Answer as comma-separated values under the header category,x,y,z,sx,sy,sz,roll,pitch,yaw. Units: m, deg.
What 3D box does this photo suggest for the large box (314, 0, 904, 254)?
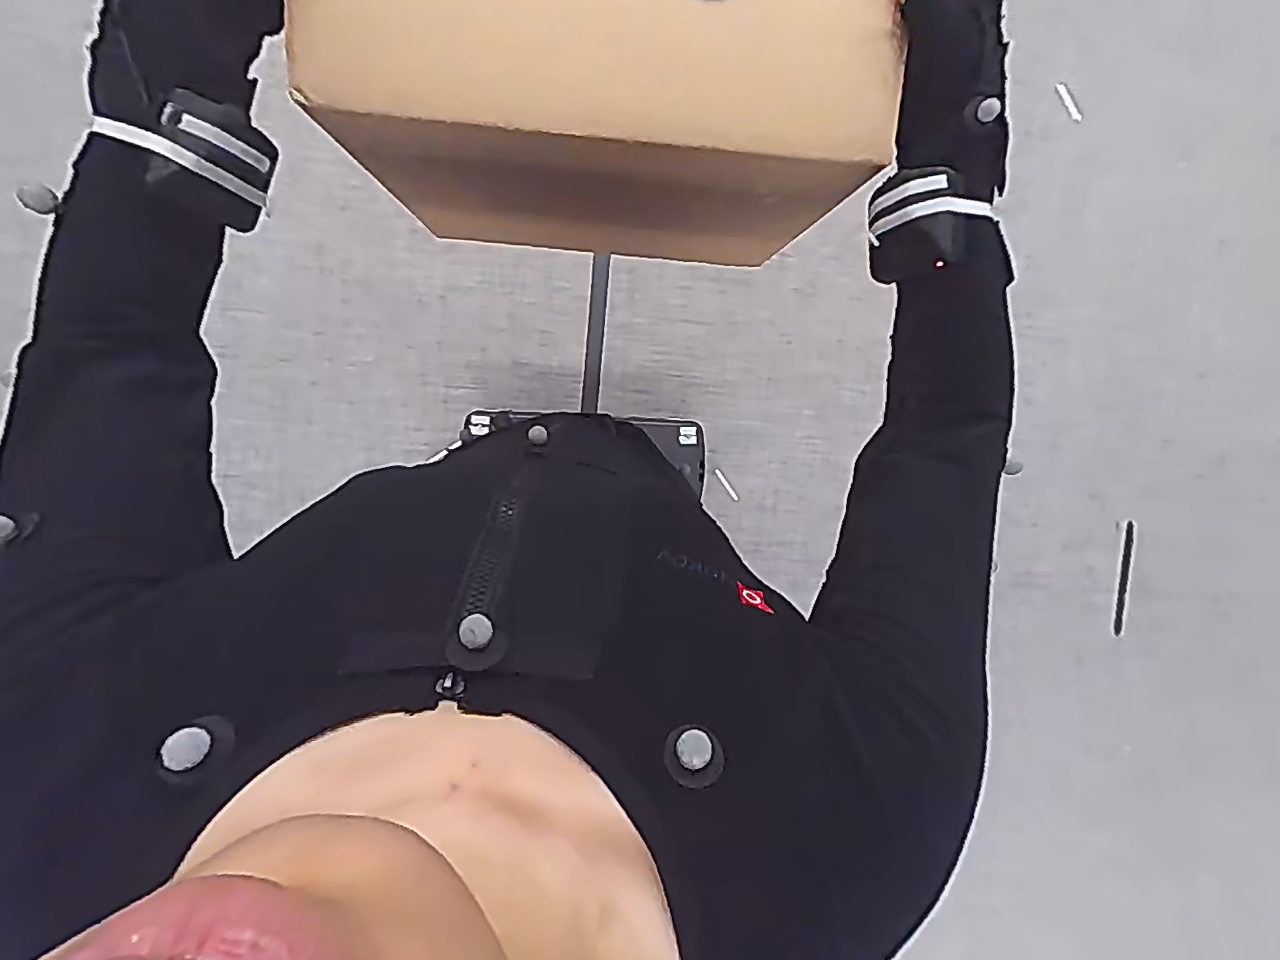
category,x,y,z,sx,sy,sz,roll,pitch,yaw
large box,-0.023,-0.416,0.499,0.408,0.320,0.320,2,100,-5

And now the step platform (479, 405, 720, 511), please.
category,x,y,z,sx,sy,sz,roll,pitch,yaw
step platform,-0.112,-0.063,1.570,0.684,0.204,0.286,1,95,-5
